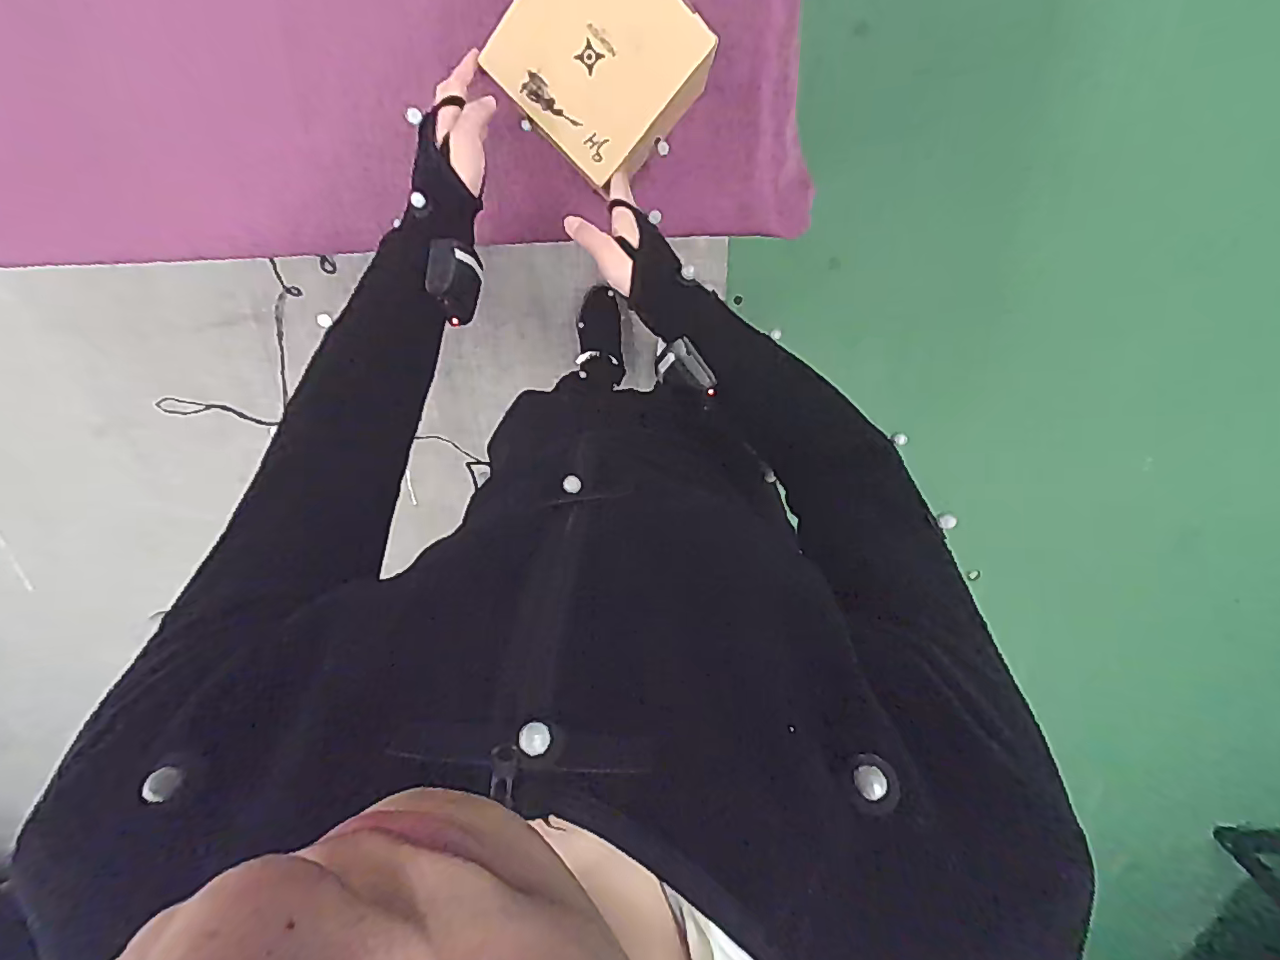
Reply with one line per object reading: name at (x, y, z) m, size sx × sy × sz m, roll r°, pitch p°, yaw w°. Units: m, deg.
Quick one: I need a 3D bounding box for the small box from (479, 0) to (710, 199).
small box at (-0.045, -0.450, 0.609) m, size 0.168 × 0.176 × 0.179 m, roll 41°, pitch 109°, yaw -13°
